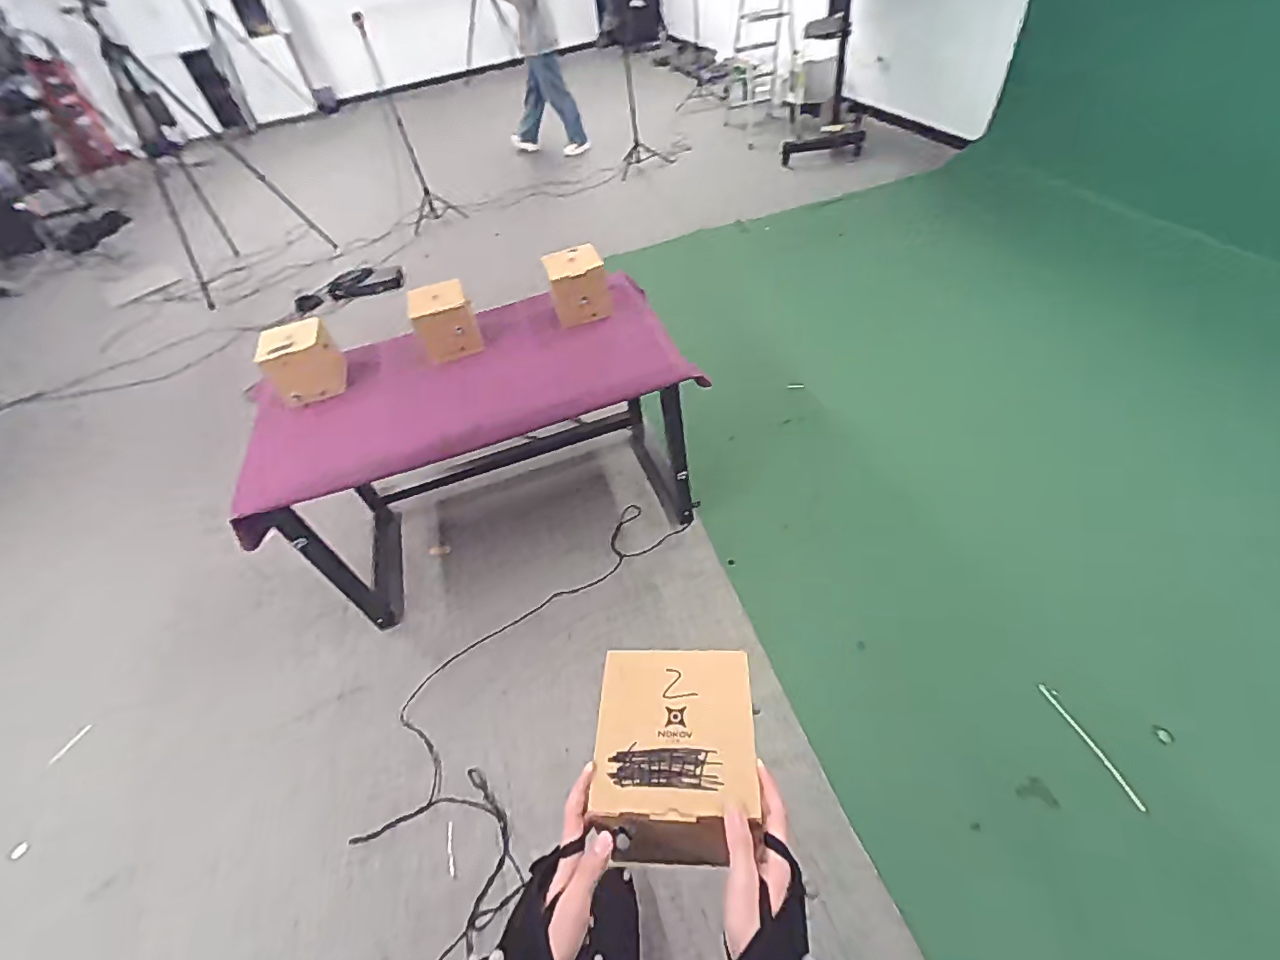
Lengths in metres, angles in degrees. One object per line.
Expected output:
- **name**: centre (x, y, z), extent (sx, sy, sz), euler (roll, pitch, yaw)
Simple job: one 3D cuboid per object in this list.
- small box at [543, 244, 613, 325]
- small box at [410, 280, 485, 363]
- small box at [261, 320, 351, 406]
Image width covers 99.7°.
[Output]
- **small box**: centre (-0.192, -0.605, 1.697), extent (0.168, 0.176, 0.179), euler (-18, 48, -6)
- **small box**: centre (-0.588, -0.480, 1.662), extent (0.168, 0.176, 0.179), euler (-19, 47, -7)
- **small box**: centre (-0.984, -0.340, 1.608), extent (0.168, 0.176, 0.179), euler (-20, 47, -8)
